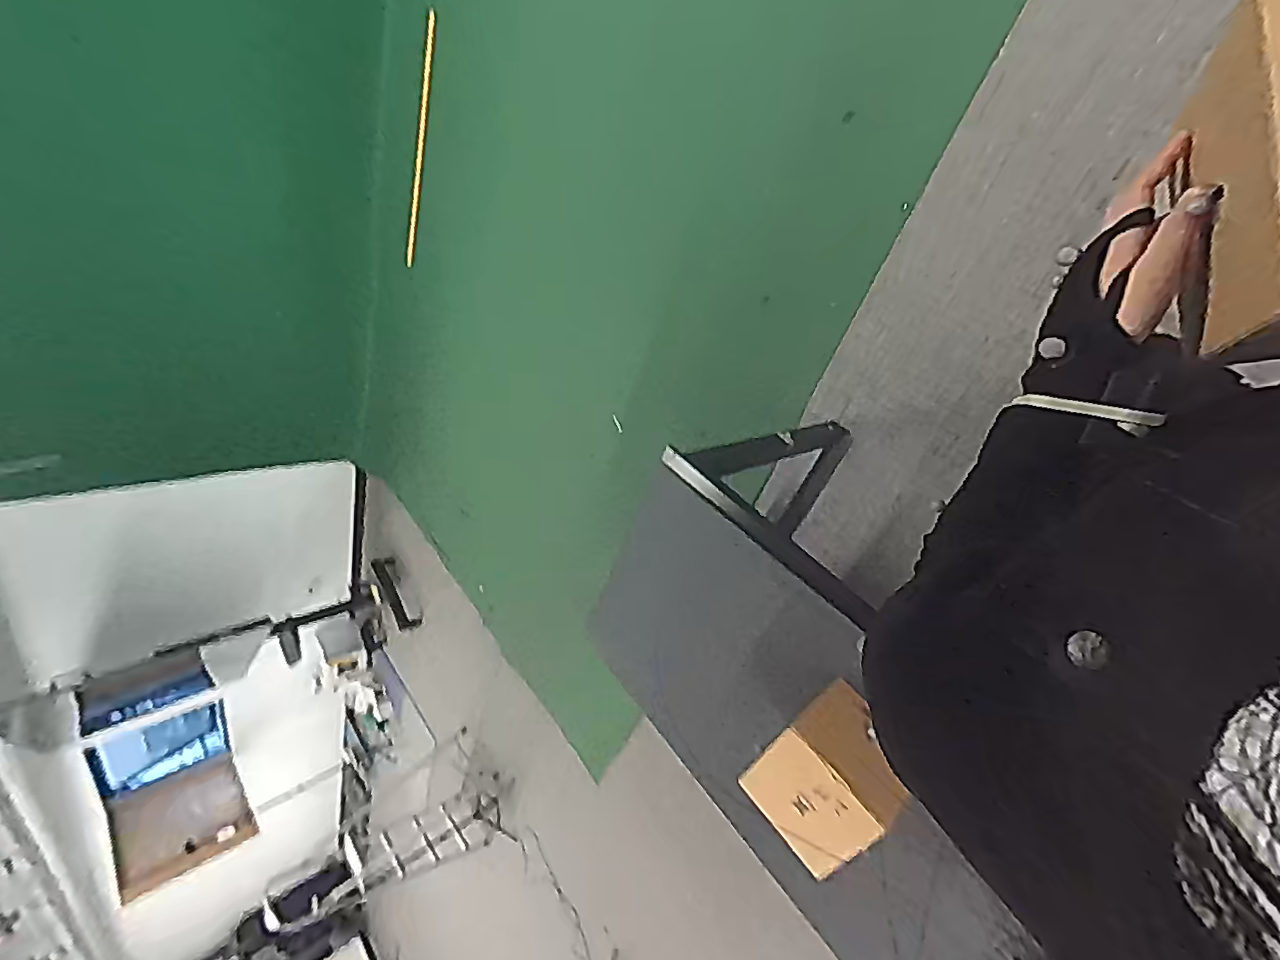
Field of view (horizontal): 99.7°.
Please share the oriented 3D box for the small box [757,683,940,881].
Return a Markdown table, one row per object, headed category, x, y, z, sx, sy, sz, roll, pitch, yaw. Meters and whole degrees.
| category | x | y | z | sx | sy | sz | roll | pitch | yaw |
| --- | --- | --- | --- | --- | --- | --- | --- | --- | --- |
| small box | 0.319 | 0.450 | 0.827 | 0.168 | 0.176 | 0.179 | 44 | 128 | 29 |
